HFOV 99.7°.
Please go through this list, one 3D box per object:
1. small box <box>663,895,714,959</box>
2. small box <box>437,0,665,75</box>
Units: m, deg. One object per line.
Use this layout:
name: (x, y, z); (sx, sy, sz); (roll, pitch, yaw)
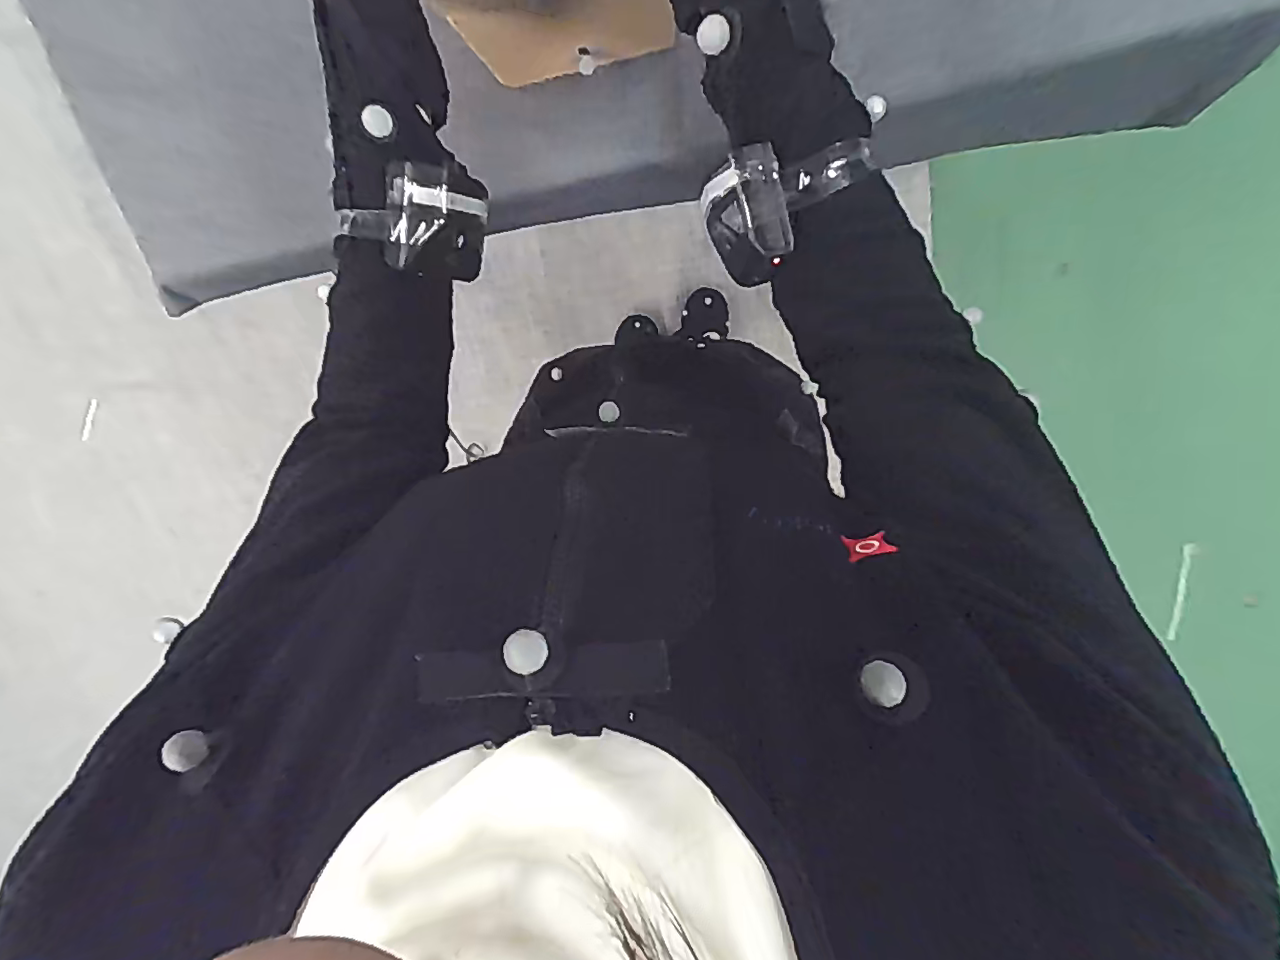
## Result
small box: (0.185, 1.728, 2.068); (0.179, 0.176, 0.168); (-7, 111, 7)
small box: (-0.075, -0.465, 0.435); (0.179, 0.176, 0.168); (-9, 110, 7)
